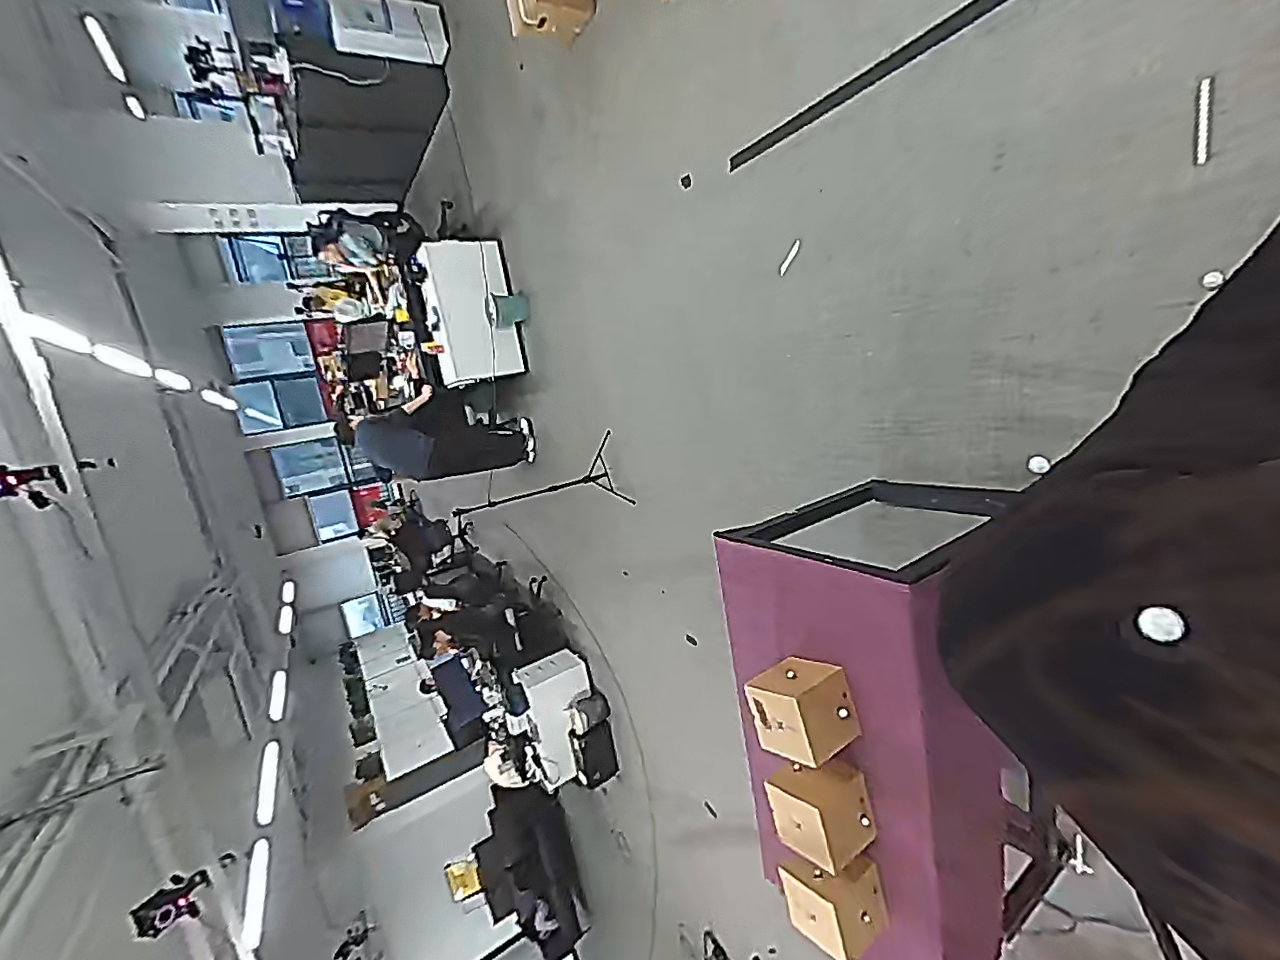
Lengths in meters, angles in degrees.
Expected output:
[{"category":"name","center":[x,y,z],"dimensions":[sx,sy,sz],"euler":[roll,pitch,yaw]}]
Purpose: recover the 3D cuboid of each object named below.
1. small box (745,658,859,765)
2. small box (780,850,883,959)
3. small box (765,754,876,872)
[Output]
[{"category":"small box","center":[0.389,0.545,1.303],"dimensions":[0.179,0.176,0.168],"euler":[-17,90,59]},{"category":"small box","center":[0.492,1.050,1.377],"dimensions":[0.179,0.176,0.168],"euler":[-8,97,60]},{"category":"small box","center":[0.446,0.804,1.338],"dimensions":[0.179,0.176,0.168],"euler":[-10,96,60]}]
